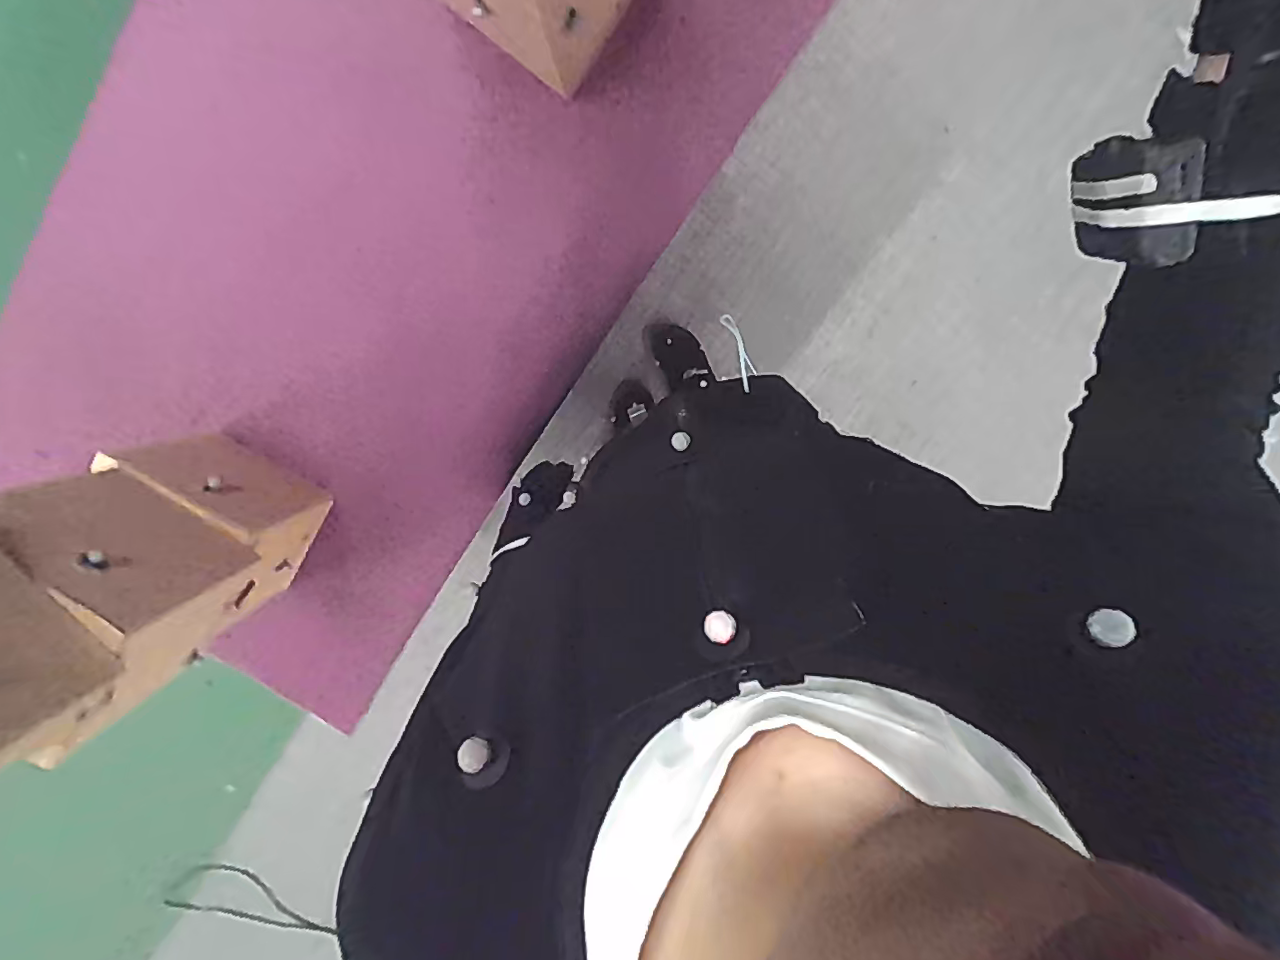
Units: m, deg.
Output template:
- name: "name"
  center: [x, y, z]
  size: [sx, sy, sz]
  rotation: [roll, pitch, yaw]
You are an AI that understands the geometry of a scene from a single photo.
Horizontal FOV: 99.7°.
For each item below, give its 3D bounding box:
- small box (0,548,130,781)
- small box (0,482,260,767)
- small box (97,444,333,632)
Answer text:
- name: "small box"
  center: [-0.527, 0.161, 0.366]
  size: [0.168, 0.176, 0.179]
  rotation: [-35, 103, 6]
- name: "small box"
  center: [-0.528, 0.123, 0.526]
  size: [0.179, 0.176, 0.168]
  rotation: [36, 100, -9]
- name: "small box"
  center: [-0.538, 0.068, 0.681]
  size: [0.179, 0.176, 0.168]
  rotation: [32, 101, -9]
